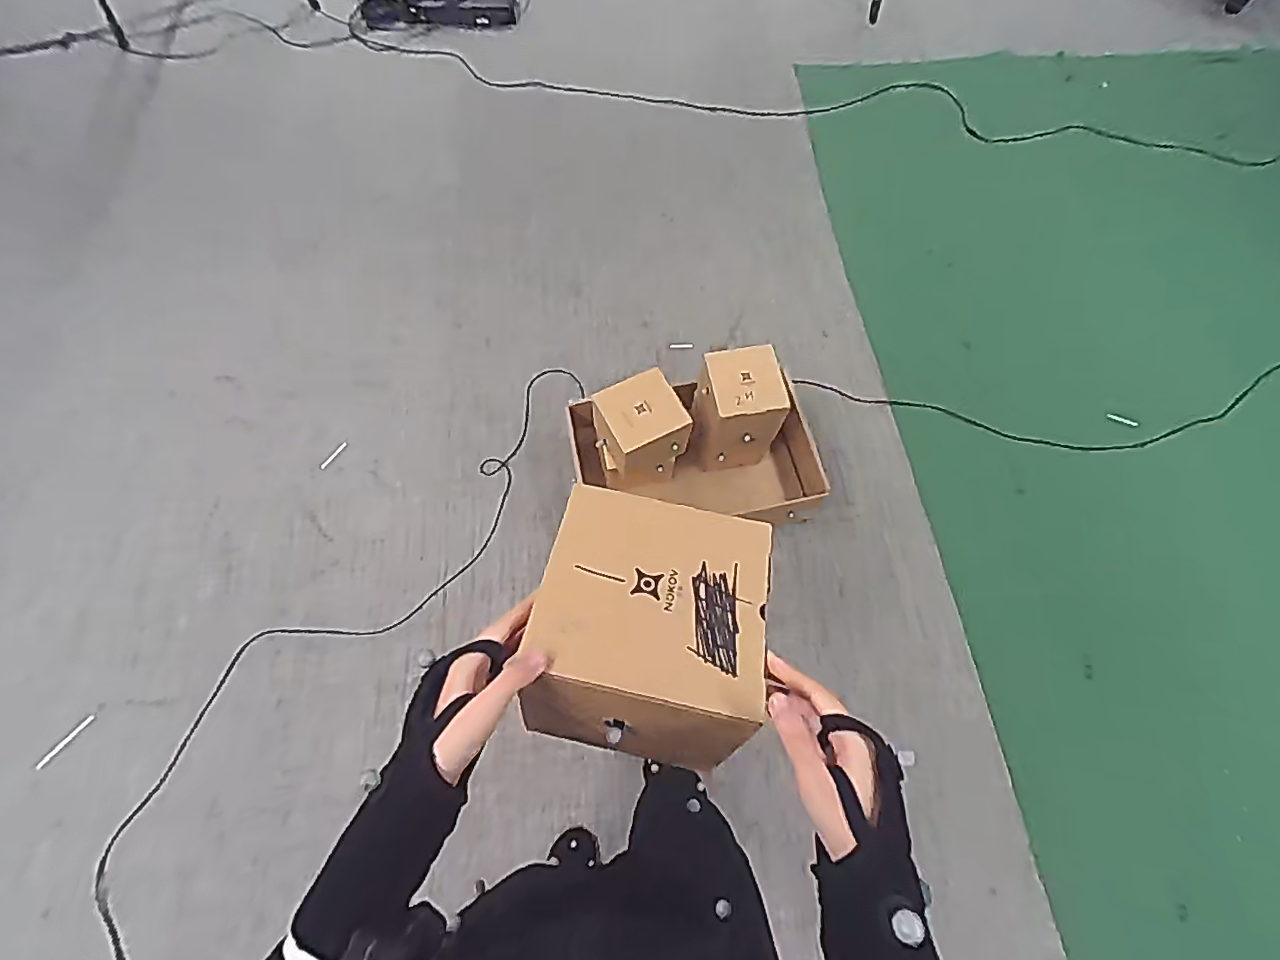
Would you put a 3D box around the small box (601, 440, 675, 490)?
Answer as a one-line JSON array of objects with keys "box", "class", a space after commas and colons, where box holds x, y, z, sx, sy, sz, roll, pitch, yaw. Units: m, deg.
[{"box": [-0.012, -0.084, 1.439, 0.179, 0.176, 0.168, -10, 70, -6], "class": "small box"}]

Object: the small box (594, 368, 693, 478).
[{"box": [0.002, -0.130, 1.283, 0.179, 0.176, 0.168, -25, 72, -11], "class": "small box"}]

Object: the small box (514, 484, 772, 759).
[{"box": [0.004, 0.132, 0.479, 0.179, 0.176, 0.168, 12, 52, 2], "class": "small box"}]

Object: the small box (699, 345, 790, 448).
[{"box": [0.243, -0.198, 1.308, 0.168, 0.176, 0.179, -9, 69, -3], "class": "small box"}]
